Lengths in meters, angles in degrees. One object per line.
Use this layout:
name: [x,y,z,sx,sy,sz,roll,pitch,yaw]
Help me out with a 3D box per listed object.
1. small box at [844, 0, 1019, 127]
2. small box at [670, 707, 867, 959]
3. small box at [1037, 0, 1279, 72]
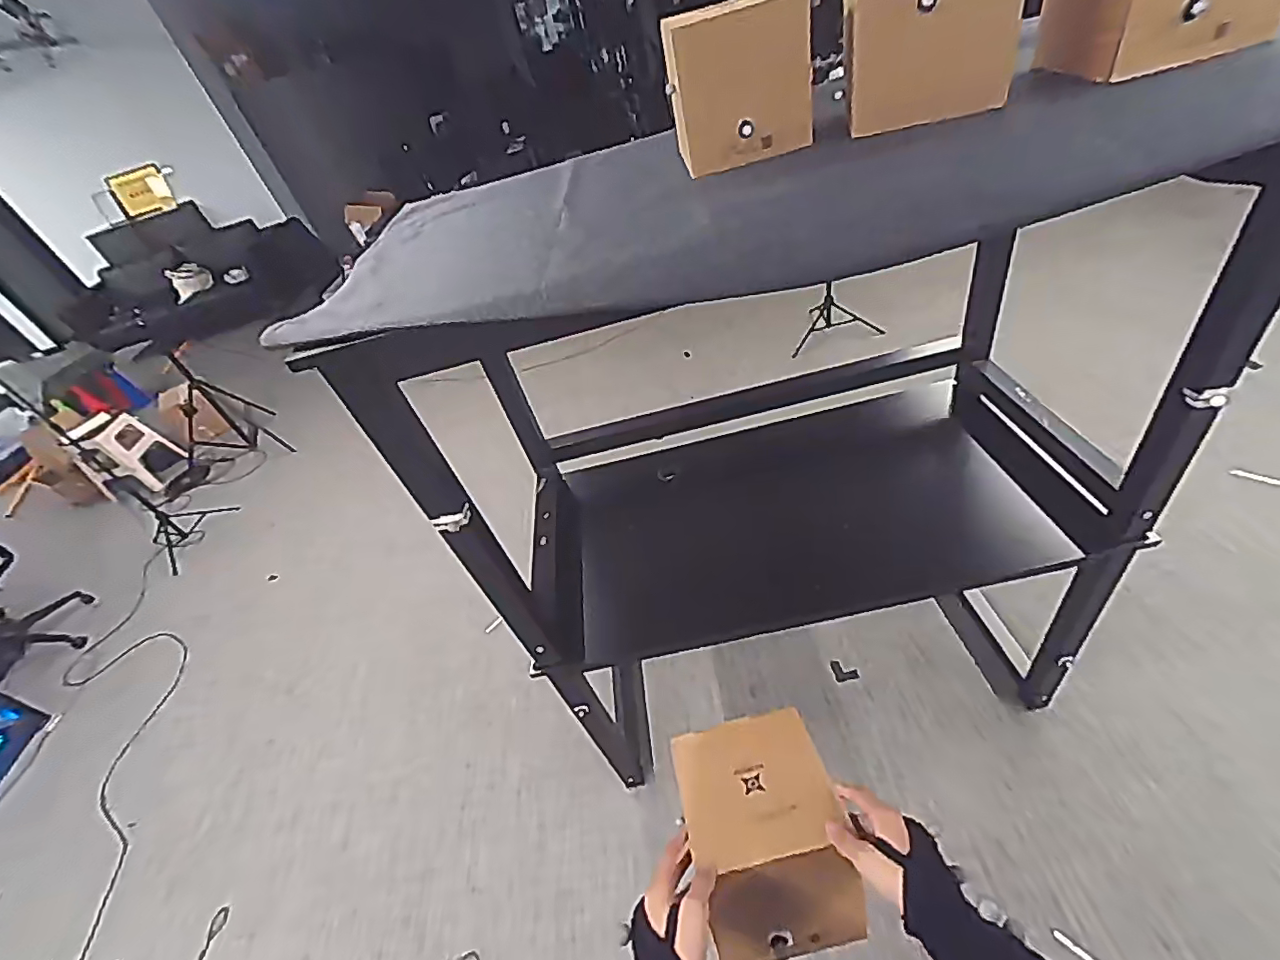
small box: [0.351,-0.564,0.672,0.179,0.176,0.168,-2,43,17]
small box: [0.139,0.401,0.618,0.168,0.176,0.179,-14,21,-1]
small box: [0.594,-0.587,0.611,0.168,0.176,0.179,-10,42,9]
